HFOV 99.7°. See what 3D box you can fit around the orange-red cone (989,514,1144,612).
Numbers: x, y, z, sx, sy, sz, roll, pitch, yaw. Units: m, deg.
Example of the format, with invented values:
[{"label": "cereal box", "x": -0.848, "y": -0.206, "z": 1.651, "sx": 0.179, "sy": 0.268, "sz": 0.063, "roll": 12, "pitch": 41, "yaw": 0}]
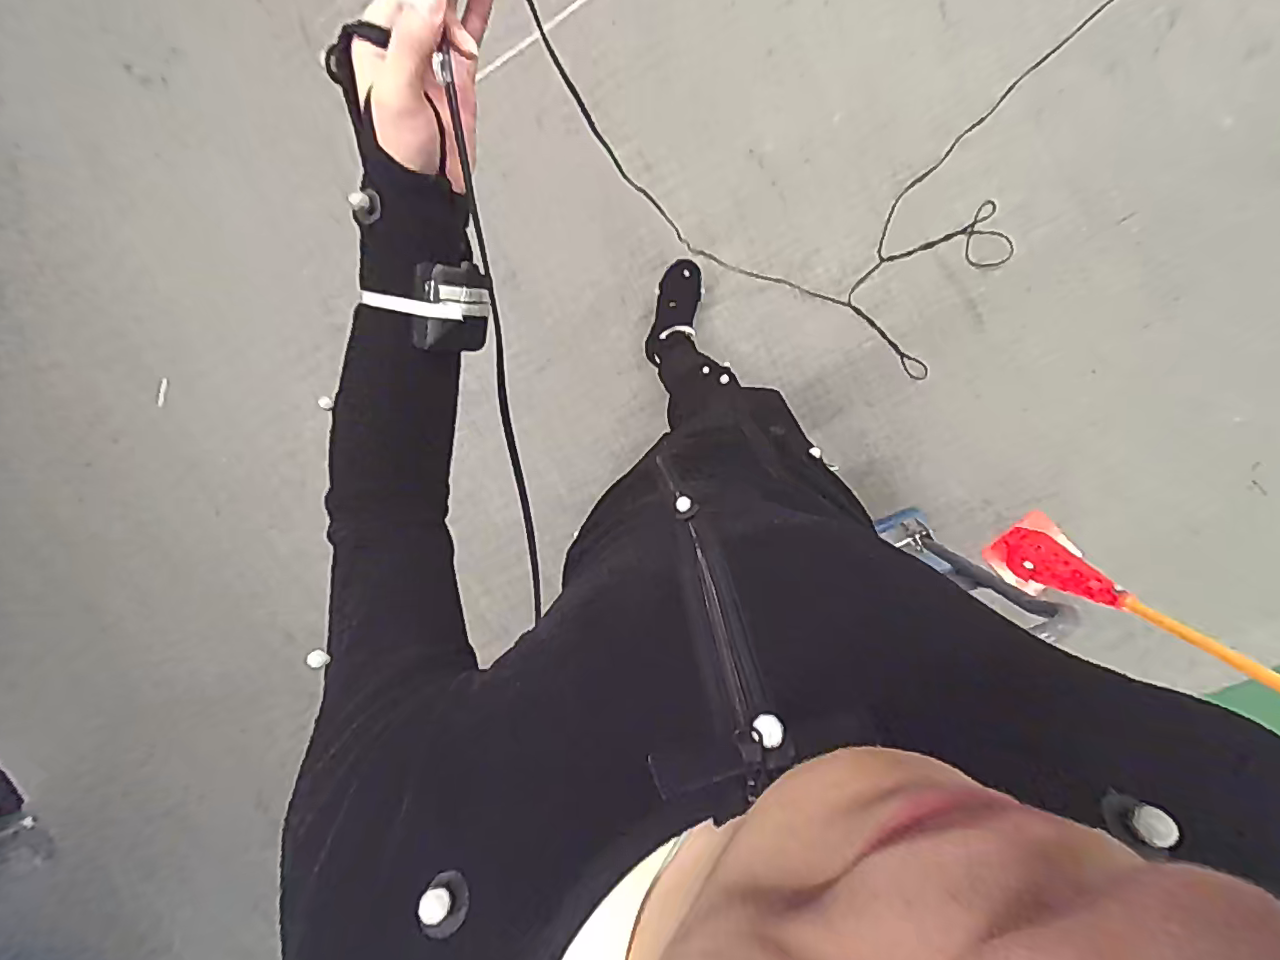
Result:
[{"label": "orange-red cone", "x": 1.103, "y": 0.243, "z": 1.359, "sx": 0.199, "sy": 0.360, "sz": 0.198, "roll": -43, "pitch": 94, "yaw": 9}]
